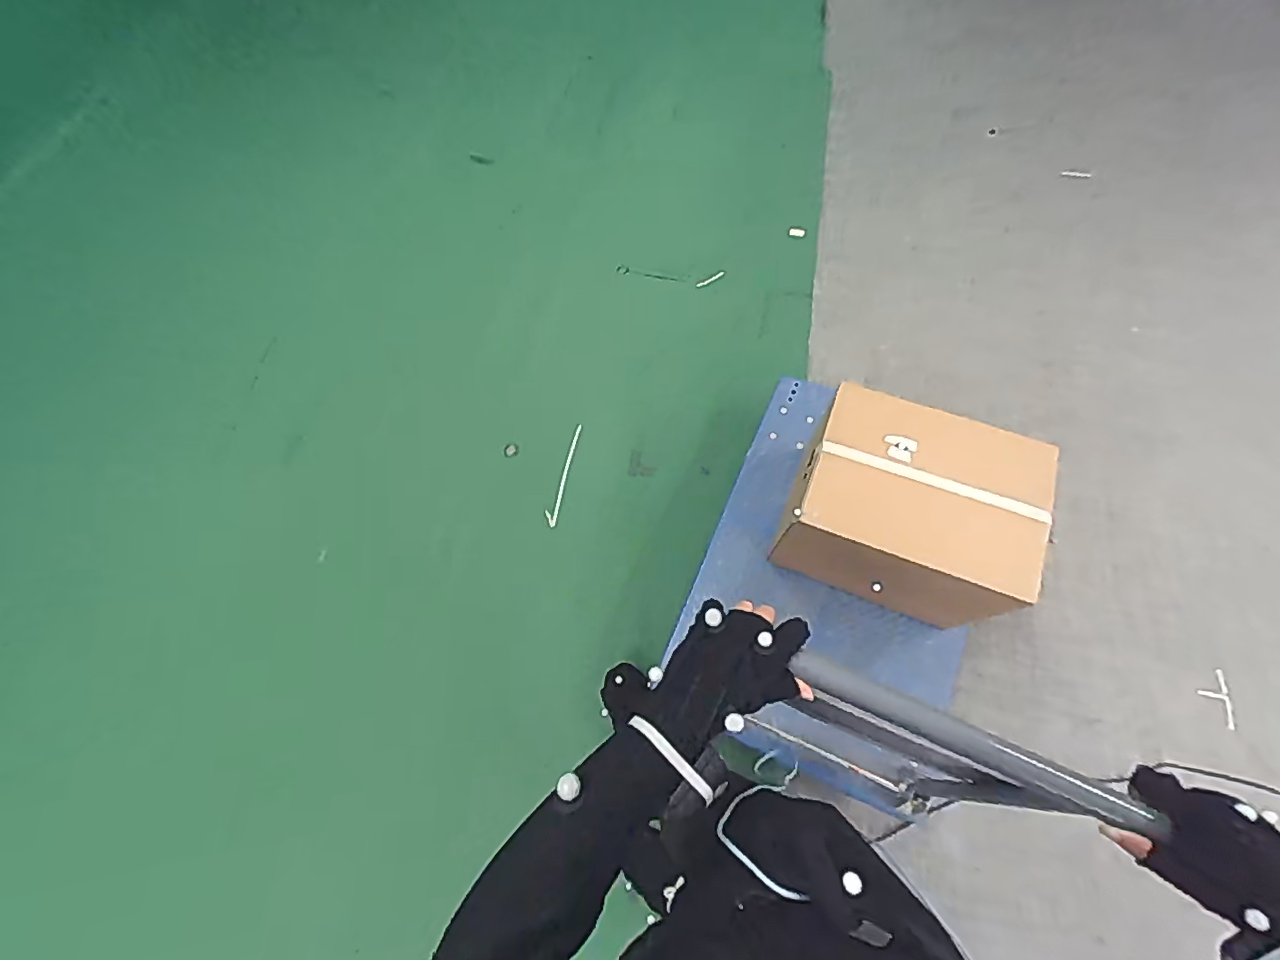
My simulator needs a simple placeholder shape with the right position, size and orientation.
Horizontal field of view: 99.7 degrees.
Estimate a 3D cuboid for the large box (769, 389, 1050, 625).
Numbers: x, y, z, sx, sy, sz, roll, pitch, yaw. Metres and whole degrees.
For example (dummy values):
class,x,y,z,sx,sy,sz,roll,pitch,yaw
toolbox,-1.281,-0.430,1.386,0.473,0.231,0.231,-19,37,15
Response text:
class,x,y,z,sx,sy,sz,roll,pitch,yaw
large box,0.521,0.068,1.110,0.408,0.320,0.320,19,69,12
